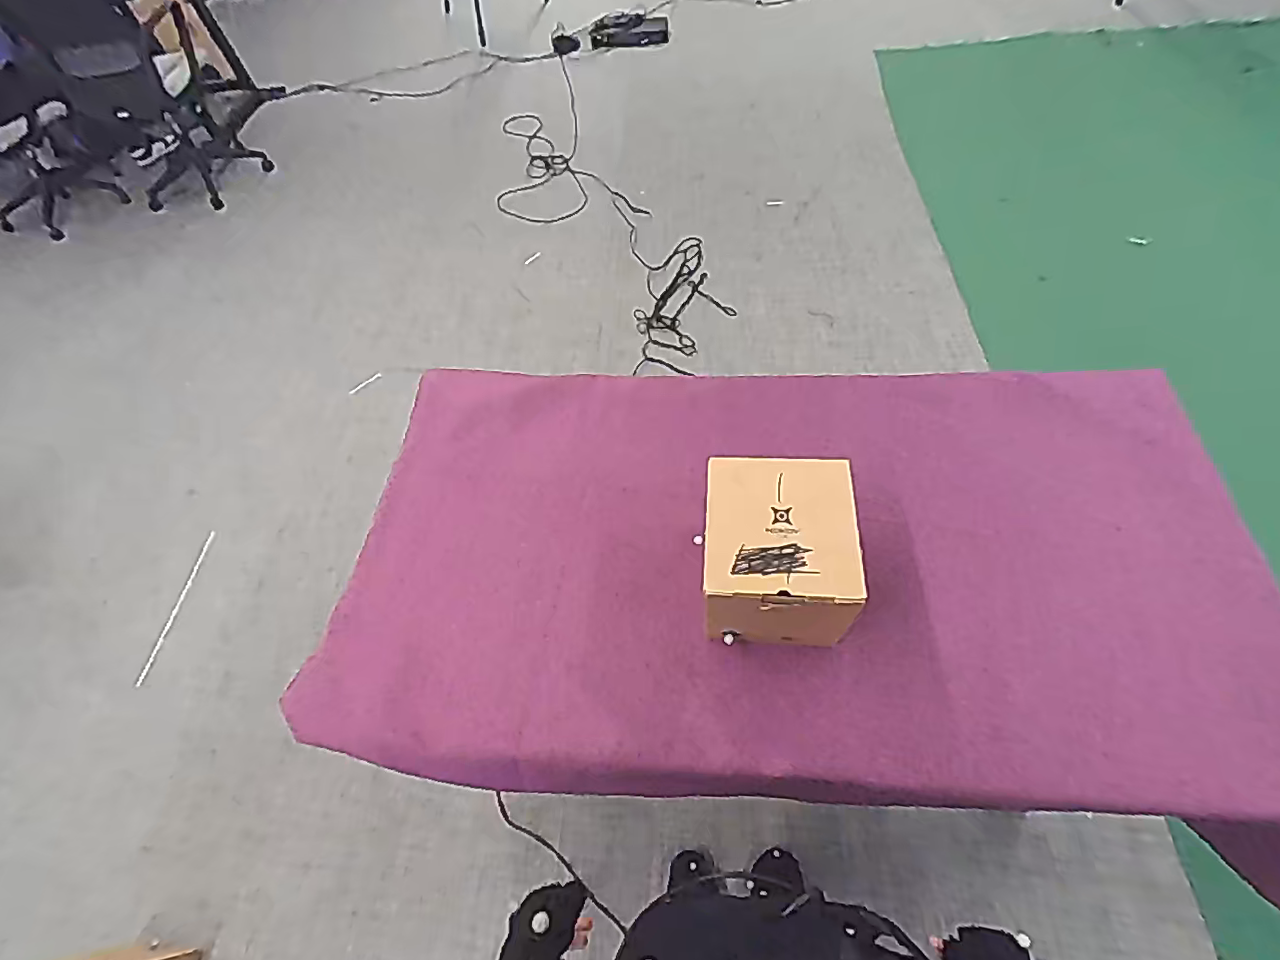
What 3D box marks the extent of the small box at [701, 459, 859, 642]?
[{"bbox_3d":[0.164,0.092,0.676,0.168,0.176,0.179,2,58,8],"label":"small box"}]
